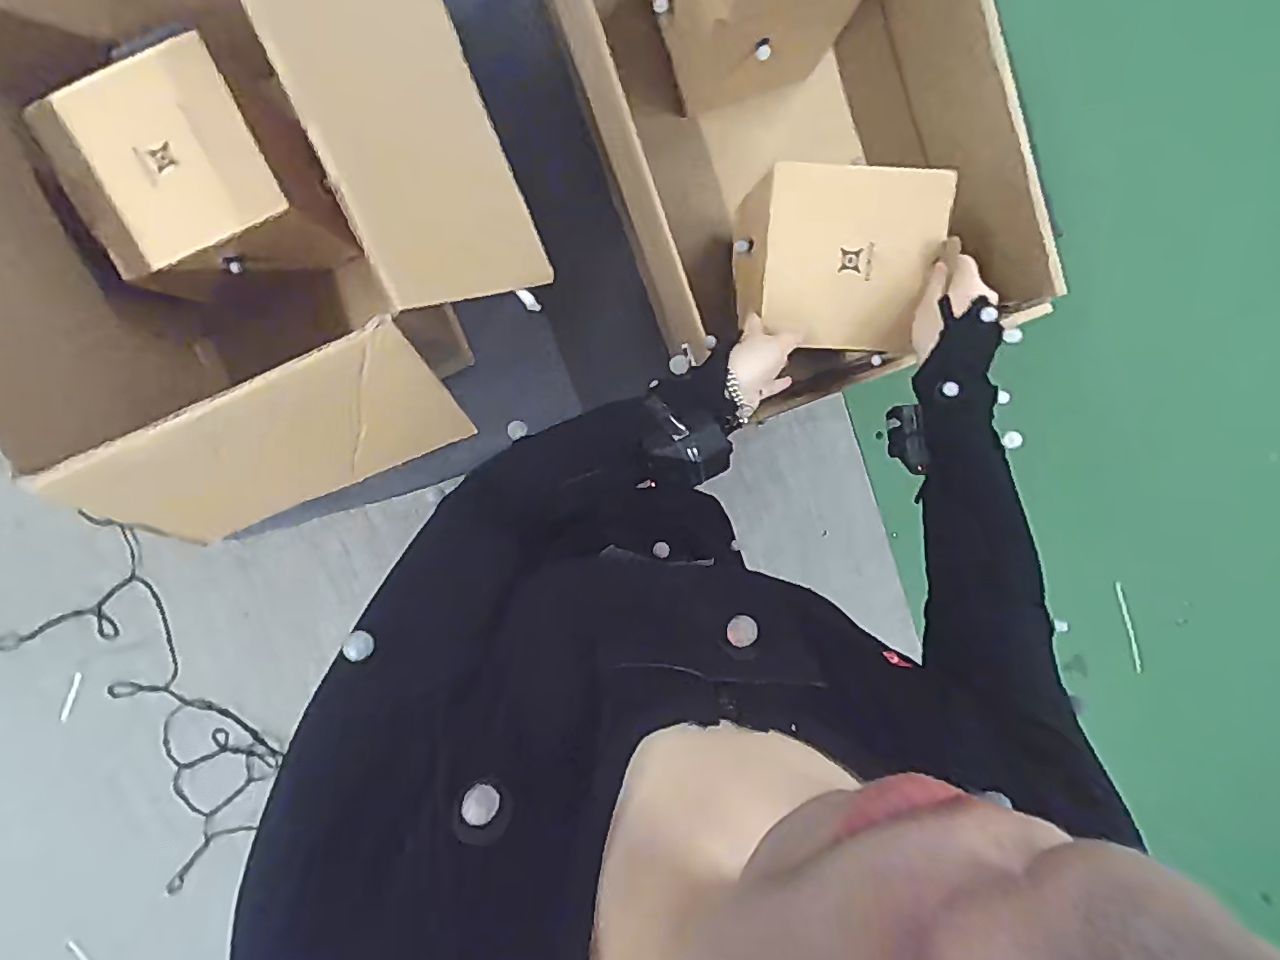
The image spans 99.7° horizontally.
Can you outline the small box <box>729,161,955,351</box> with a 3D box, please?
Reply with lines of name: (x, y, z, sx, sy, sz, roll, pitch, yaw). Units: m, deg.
small box: (0.200, -0.230, 0.594, 0.179, 0.176, 0.168, 1, 105, -3)
